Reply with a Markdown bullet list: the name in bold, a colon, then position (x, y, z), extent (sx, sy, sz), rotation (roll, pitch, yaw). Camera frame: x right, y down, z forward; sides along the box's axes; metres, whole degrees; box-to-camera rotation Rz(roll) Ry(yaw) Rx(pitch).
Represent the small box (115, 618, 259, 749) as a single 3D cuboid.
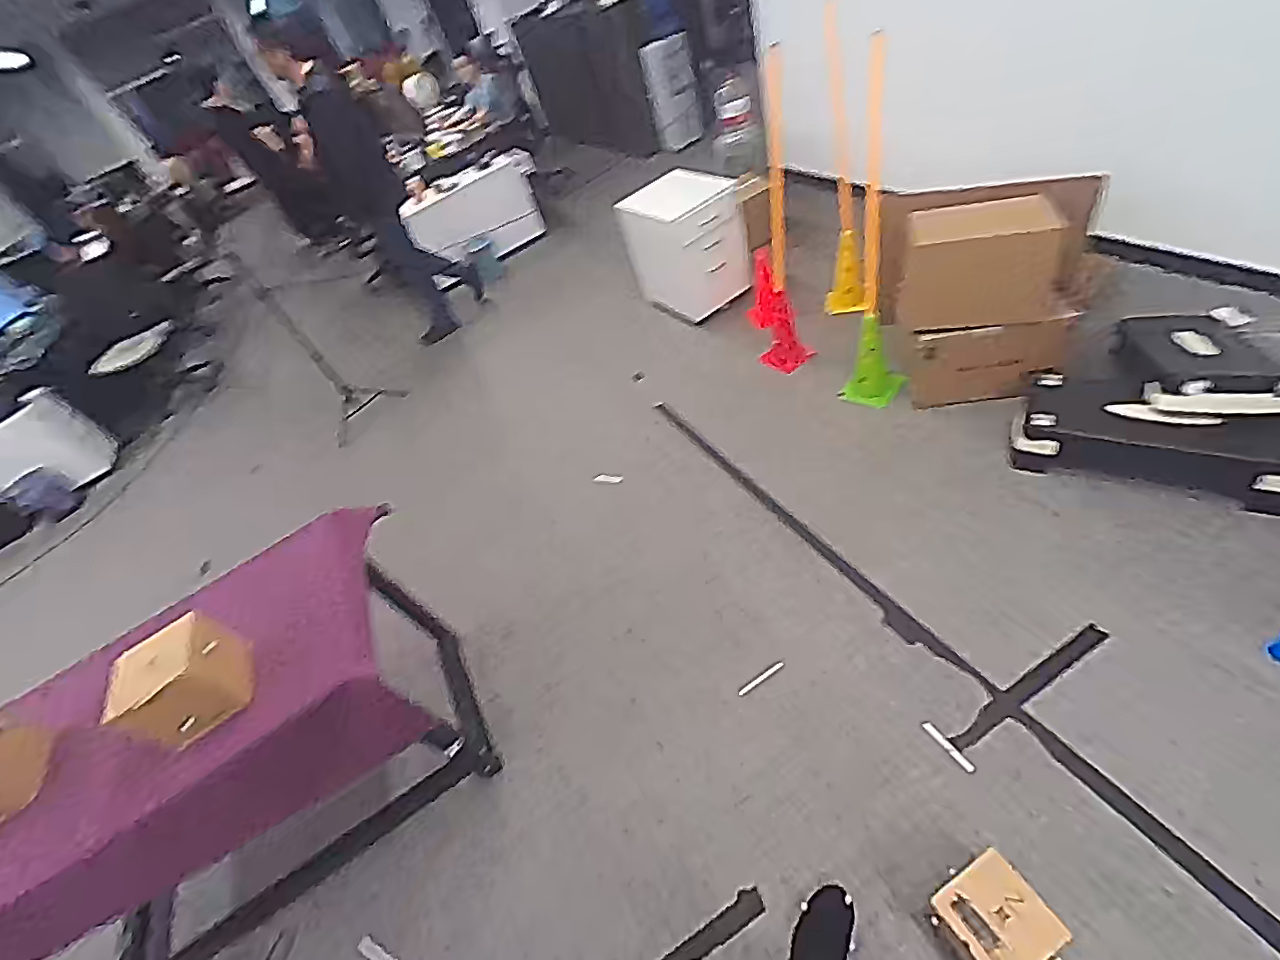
- **small box**: position (-0.962, 0.441, 1.168), extent (0.168, 0.176, 0.179), rotation (-35, 45, -10)
